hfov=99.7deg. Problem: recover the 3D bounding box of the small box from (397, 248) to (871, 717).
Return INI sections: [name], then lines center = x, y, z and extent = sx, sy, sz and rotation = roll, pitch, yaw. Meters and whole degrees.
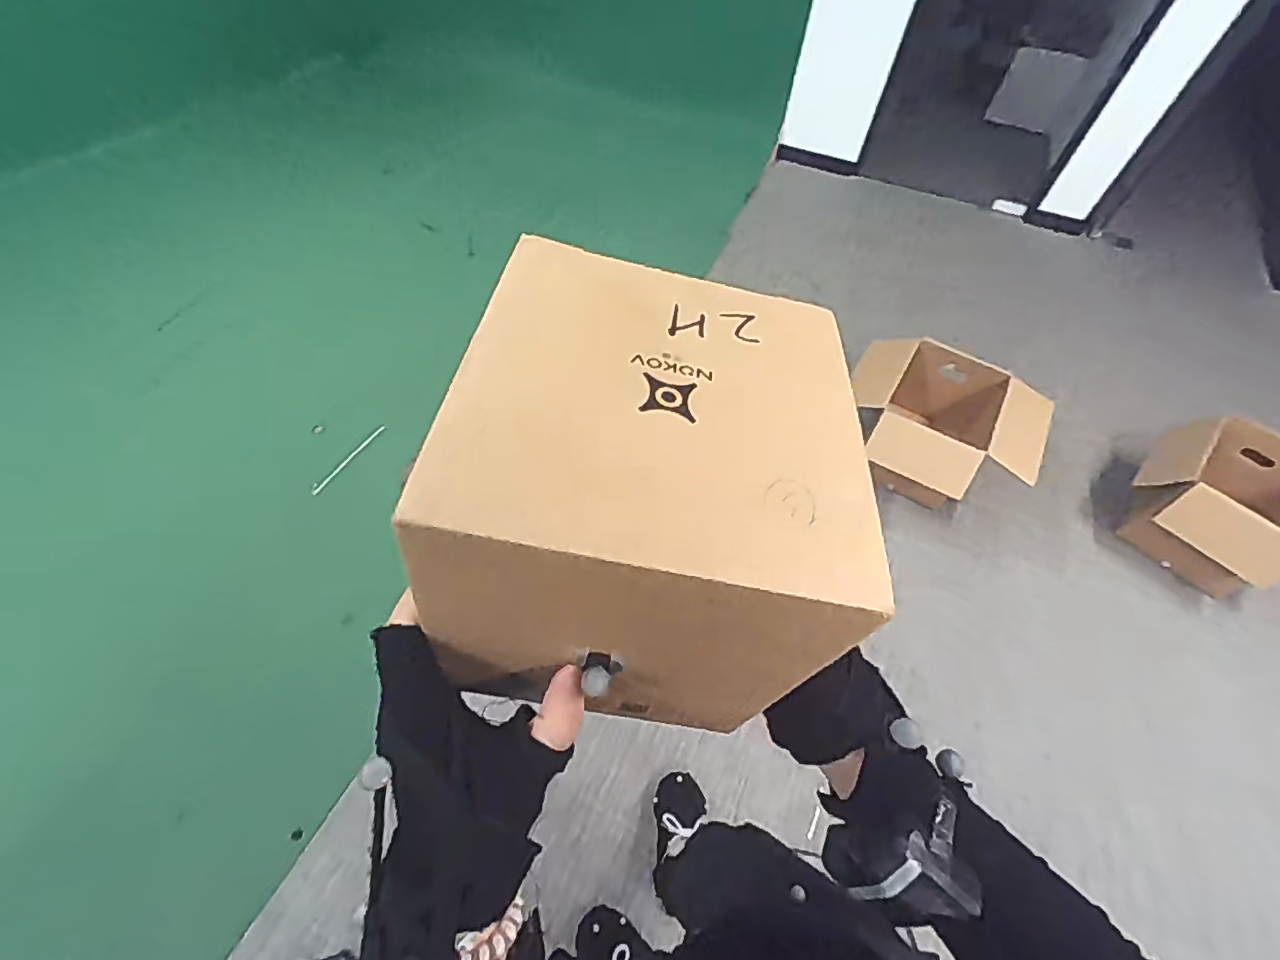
[small box]
center = -0.005, 0.012, 0.293
extent = 0.168, 0.176, 0.179
rotation = 11, 51, -5
